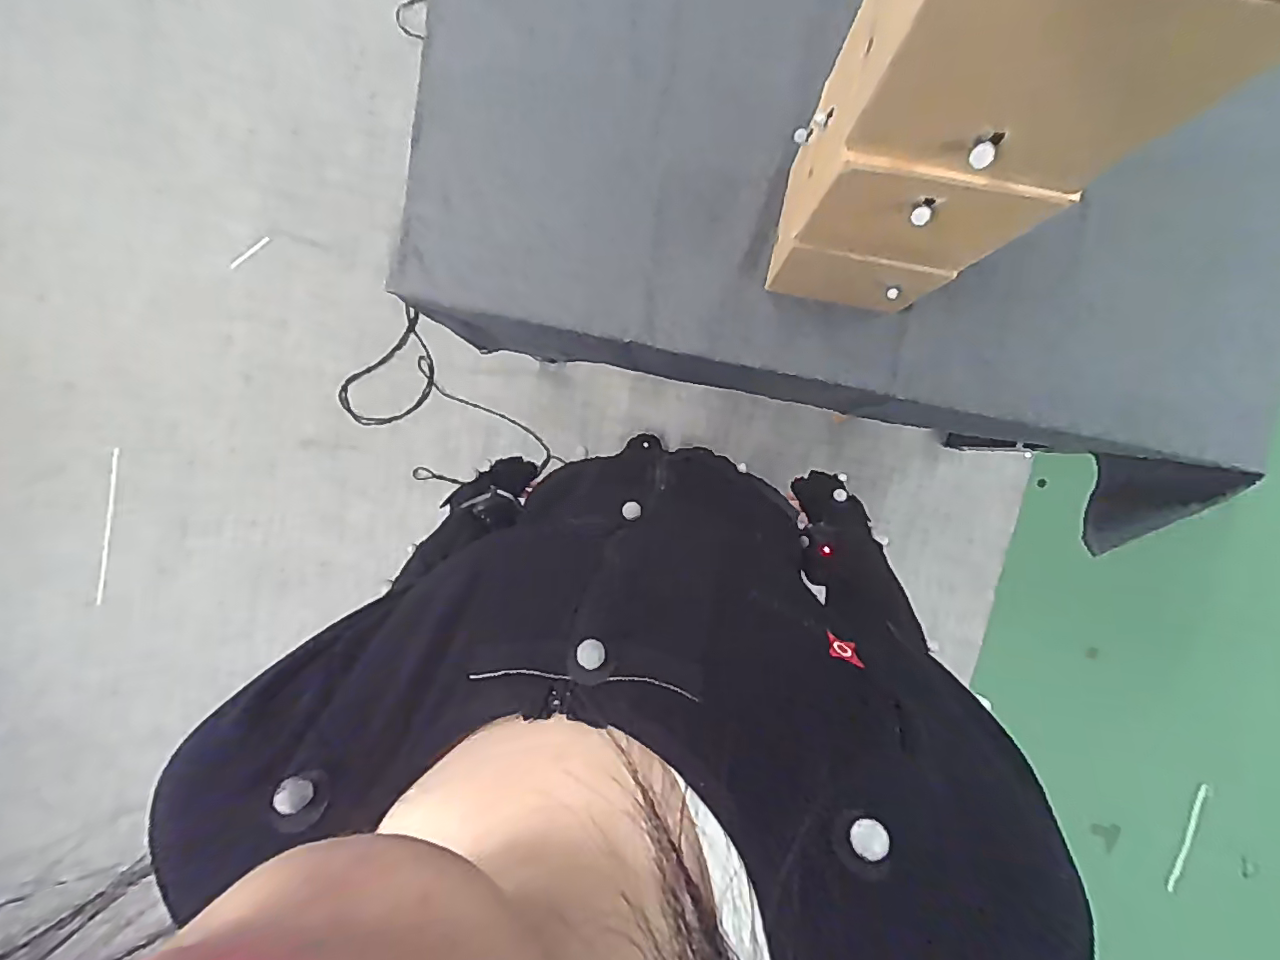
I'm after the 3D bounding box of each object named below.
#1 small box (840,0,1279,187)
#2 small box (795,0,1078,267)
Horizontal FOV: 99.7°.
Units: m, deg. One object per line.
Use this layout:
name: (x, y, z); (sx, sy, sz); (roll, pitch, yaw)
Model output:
small box: (0.245, -0.302, 0.317); (0.179, 0.176, 0.168); (13, 94, 2)
small box: (0.256, -0.305, 0.480); (0.179, 0.176, 0.168); (11, 94, 3)
